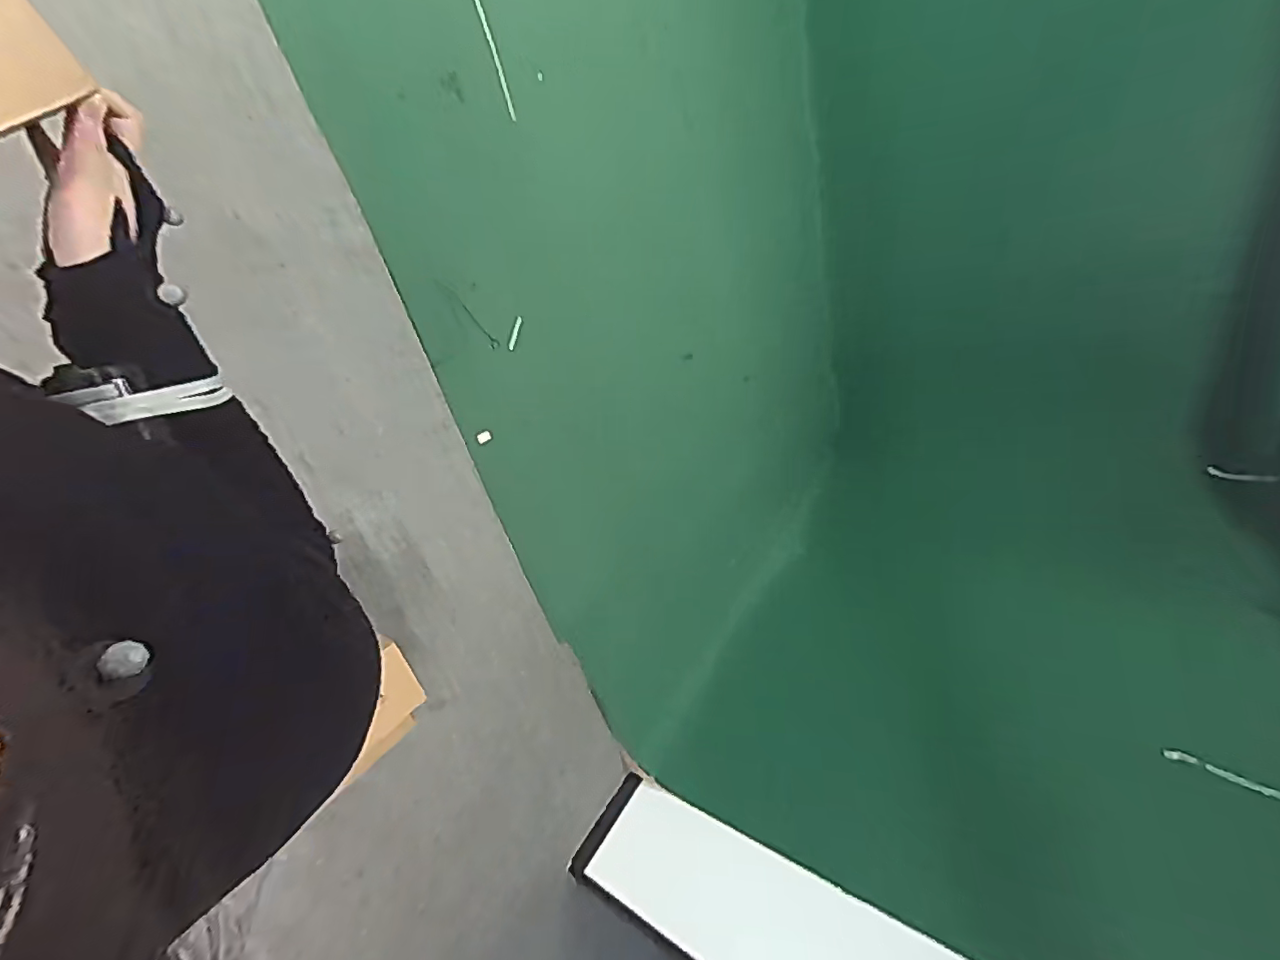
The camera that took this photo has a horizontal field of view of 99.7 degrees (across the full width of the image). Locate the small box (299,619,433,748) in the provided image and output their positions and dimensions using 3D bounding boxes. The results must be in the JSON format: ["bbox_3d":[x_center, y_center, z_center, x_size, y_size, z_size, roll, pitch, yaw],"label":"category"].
[{"bbox_3d":[-0.594,0.432,1.176,0.168,0.176,0.179,-41,128,-41],"label":"small box"}]
